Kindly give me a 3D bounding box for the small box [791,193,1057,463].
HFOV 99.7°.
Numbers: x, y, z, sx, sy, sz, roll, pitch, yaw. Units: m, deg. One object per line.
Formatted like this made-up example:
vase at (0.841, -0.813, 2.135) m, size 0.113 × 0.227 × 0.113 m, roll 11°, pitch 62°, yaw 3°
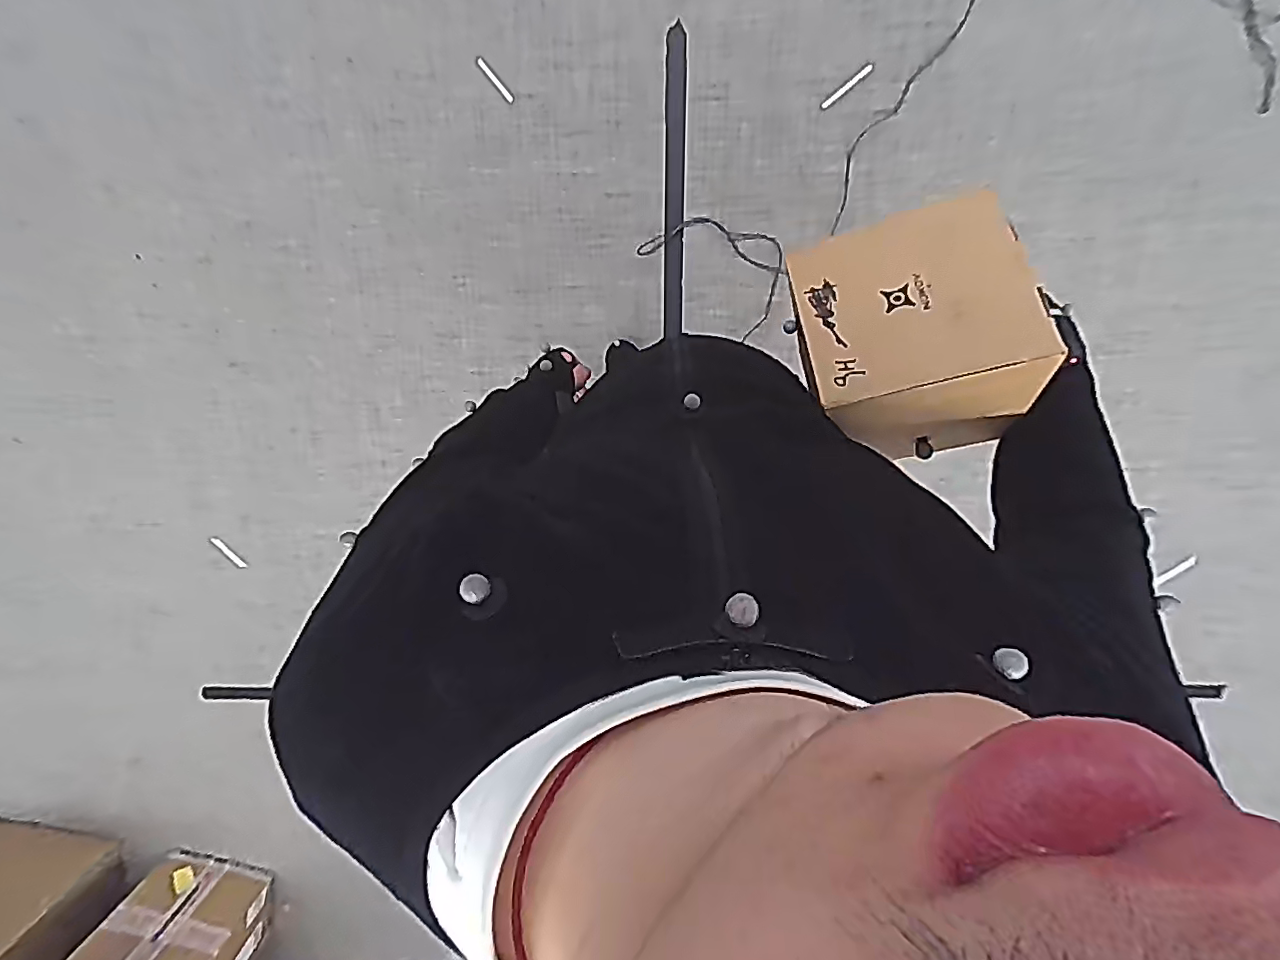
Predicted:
small box at (0.256, -0.131, 0.532) m, size 0.179 × 0.176 × 0.168 m, roll -12°, pitch 68°, yaw 17°
